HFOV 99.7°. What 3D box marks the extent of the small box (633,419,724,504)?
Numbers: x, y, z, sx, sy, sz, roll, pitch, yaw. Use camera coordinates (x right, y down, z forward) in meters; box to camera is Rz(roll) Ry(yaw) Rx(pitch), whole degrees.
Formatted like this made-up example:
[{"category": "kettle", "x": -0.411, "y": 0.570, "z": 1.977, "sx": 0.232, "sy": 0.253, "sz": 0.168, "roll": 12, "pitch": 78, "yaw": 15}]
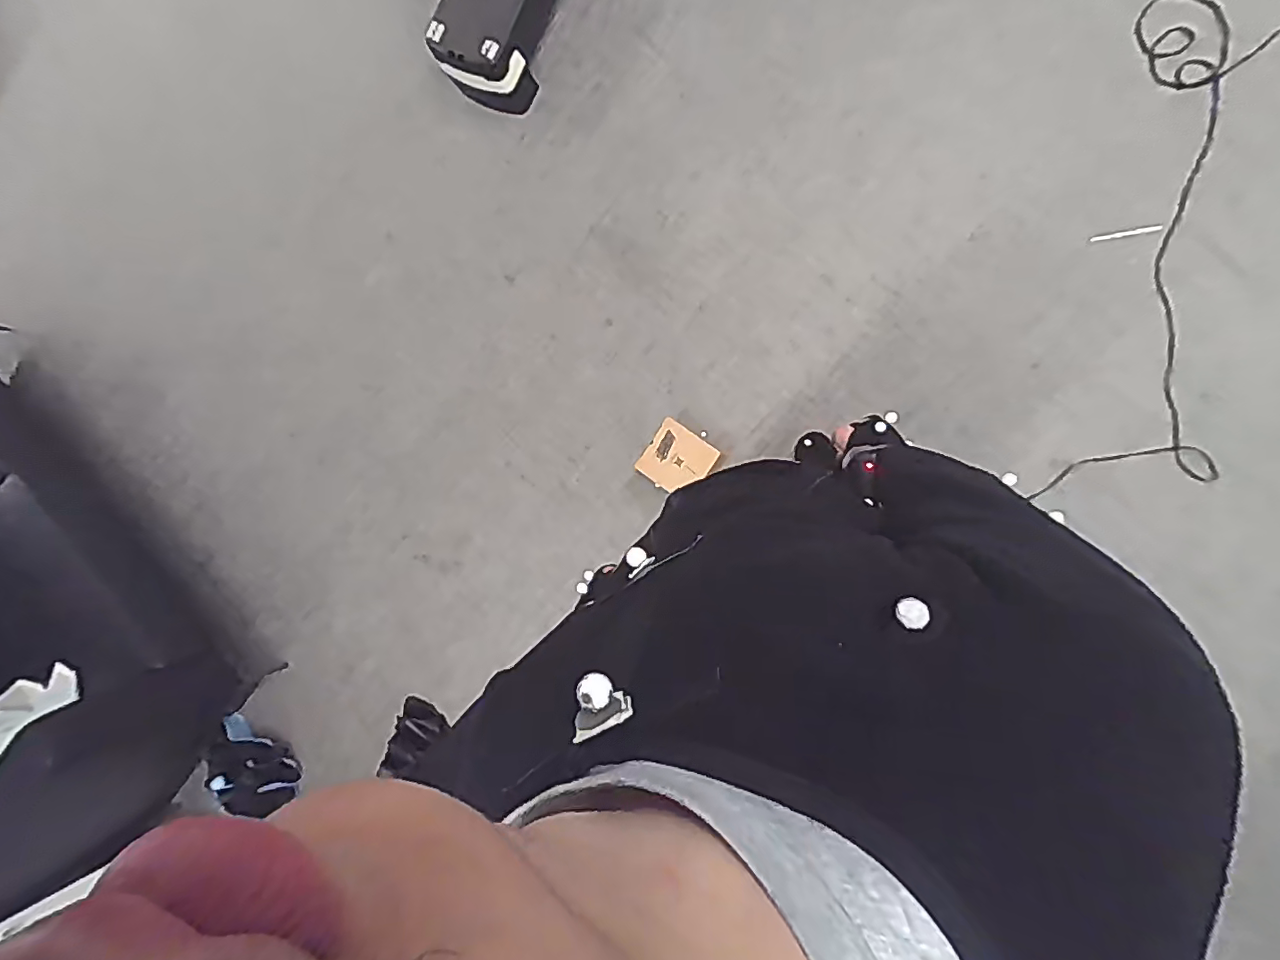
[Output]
[{"category": "small box", "x": 0.113, "y": -0.048, "z": 1.498, "sx": 0.179, "sy": 0.176, "sz": 0.168, "roll": 36, "pitch": 99, "yaw": 12}]
